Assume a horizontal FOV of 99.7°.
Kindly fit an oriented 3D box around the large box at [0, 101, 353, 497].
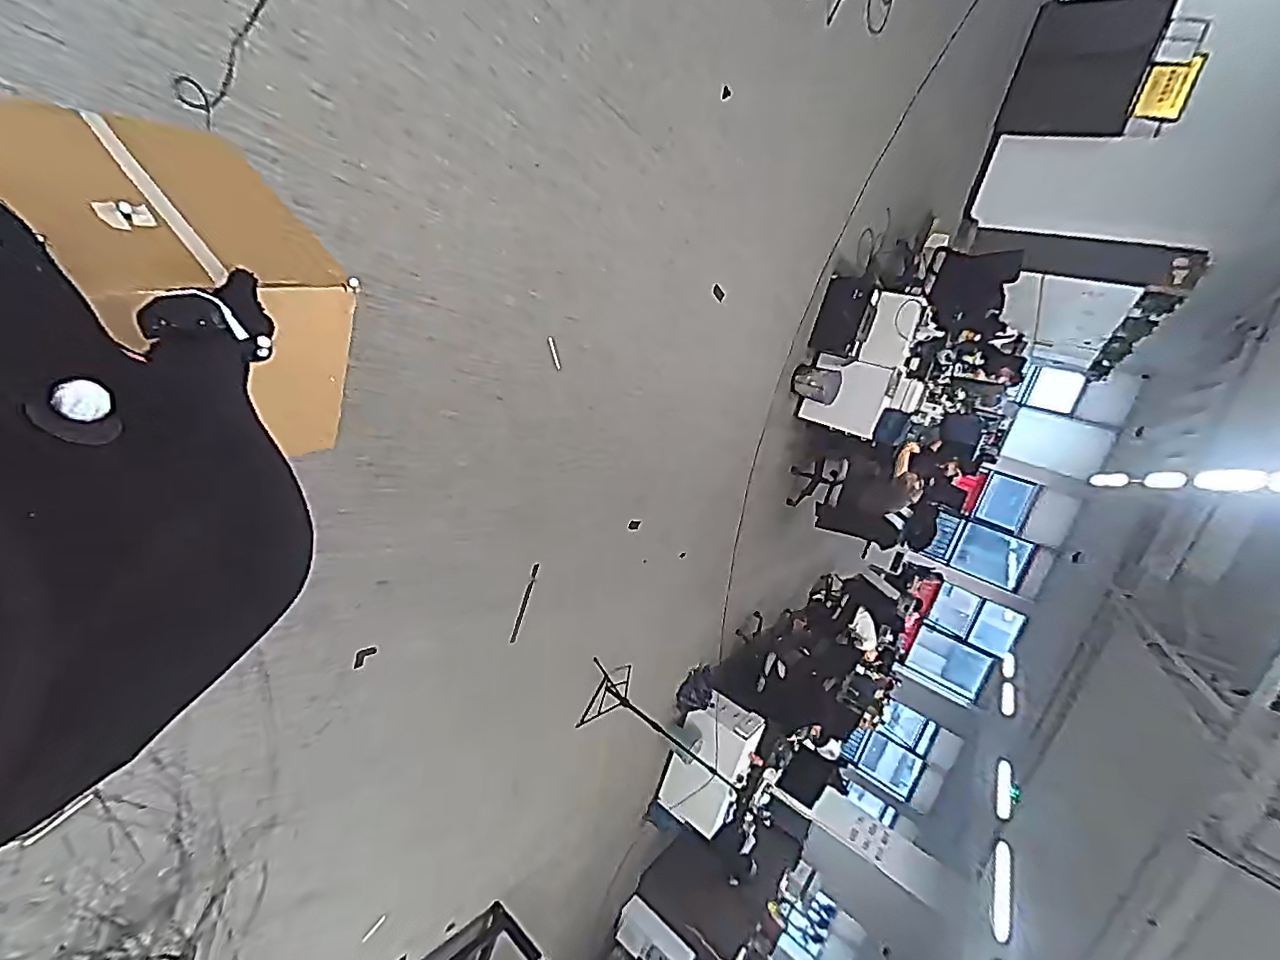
[{"bbox_3d":[-0.685,-0.252,0.770,0.320,0.408,0.320,-27,158,-48],"label":"large box"}]
